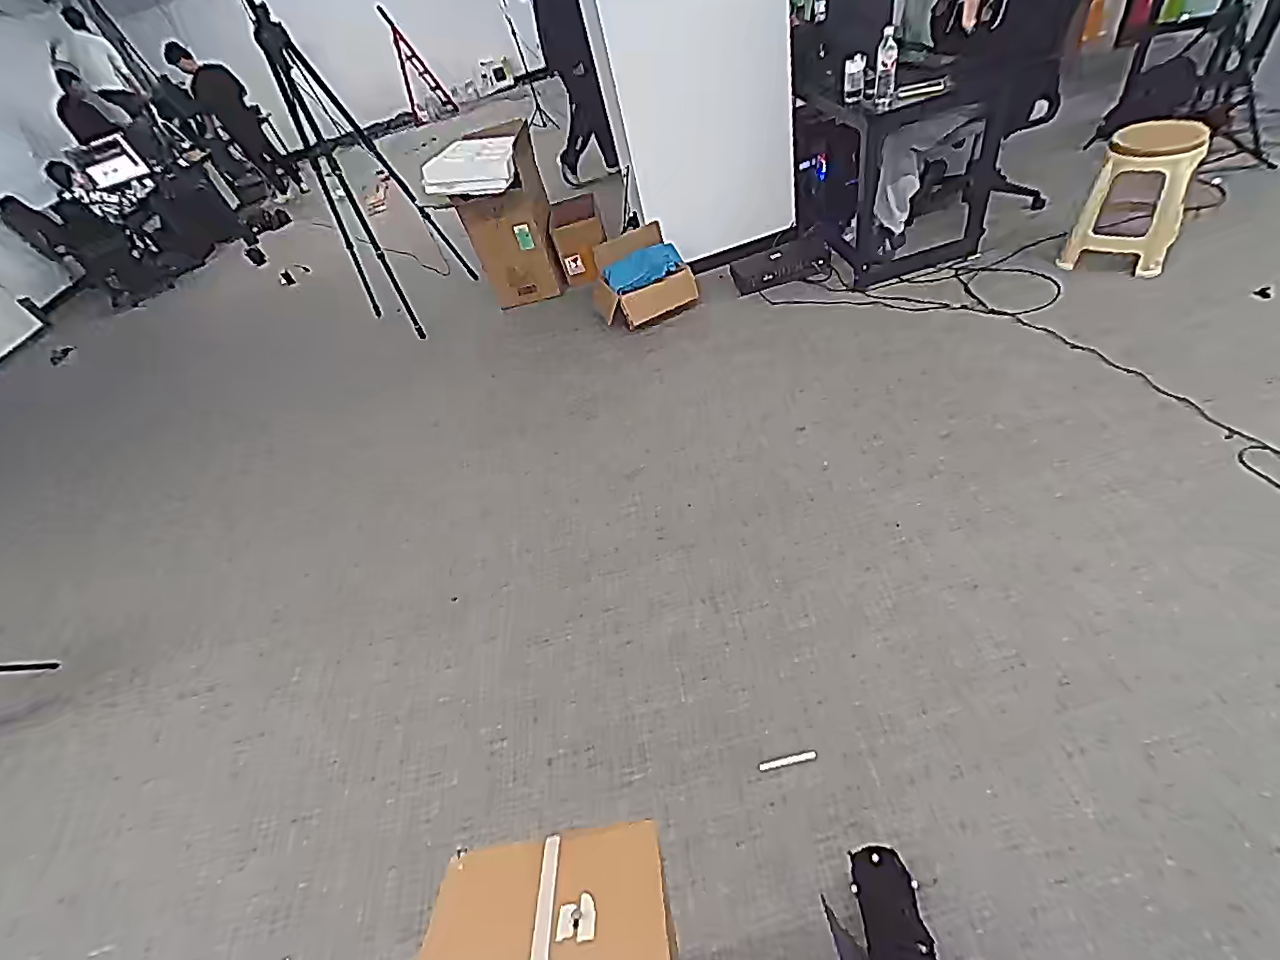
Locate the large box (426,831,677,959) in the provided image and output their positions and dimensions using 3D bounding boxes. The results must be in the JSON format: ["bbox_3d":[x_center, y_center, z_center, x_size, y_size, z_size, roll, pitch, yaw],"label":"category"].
[{"bbox_3d":[-0.094,0.743,0.658,0.320,0.320,0.408,-9,11,-1],"label":"large box"}]
